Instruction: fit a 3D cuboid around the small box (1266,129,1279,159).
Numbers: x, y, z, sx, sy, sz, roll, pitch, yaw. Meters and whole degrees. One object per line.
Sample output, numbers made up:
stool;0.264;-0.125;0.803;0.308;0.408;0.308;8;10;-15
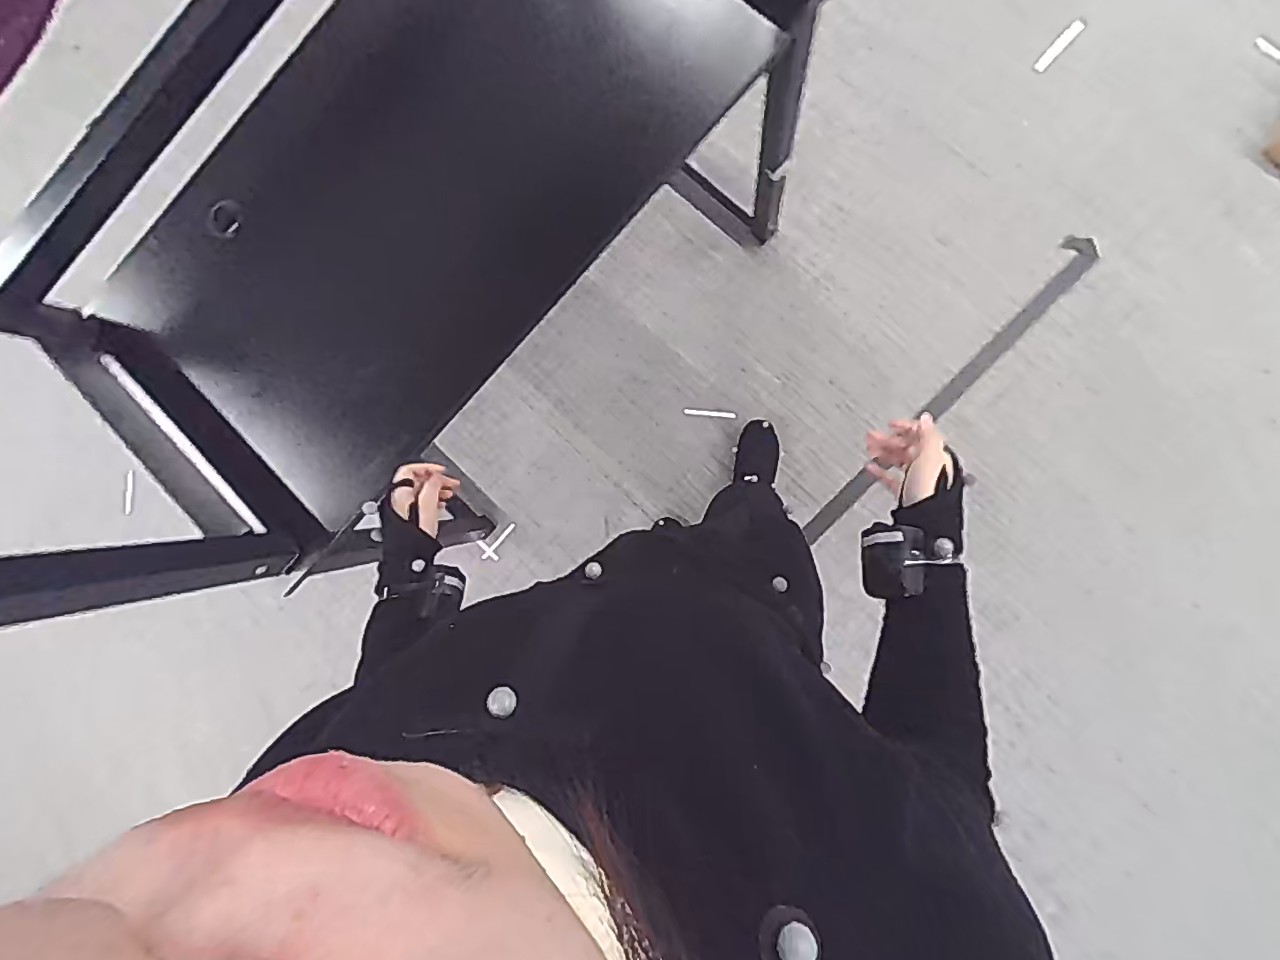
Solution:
small box;1.585;-0.789;1.189;0.179;0.176;0.168;45;95;5
